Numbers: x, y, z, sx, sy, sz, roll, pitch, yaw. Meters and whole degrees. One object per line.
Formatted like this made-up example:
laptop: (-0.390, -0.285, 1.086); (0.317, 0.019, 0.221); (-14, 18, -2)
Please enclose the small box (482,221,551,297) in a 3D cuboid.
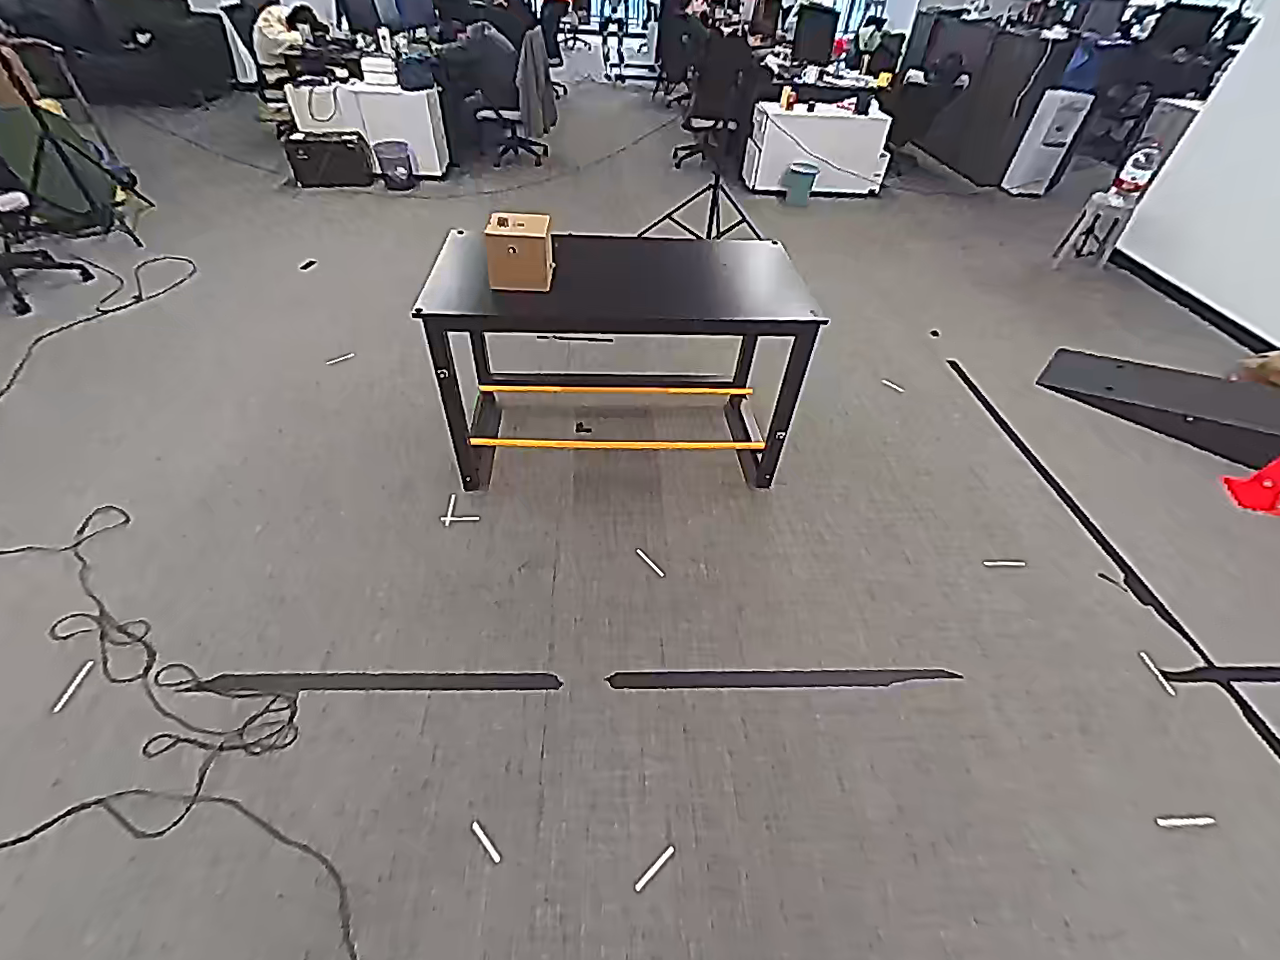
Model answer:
small box: (-0.371, -0.673, 1.653); (0.179, 0.176, 0.168); (1, 45, -5)
